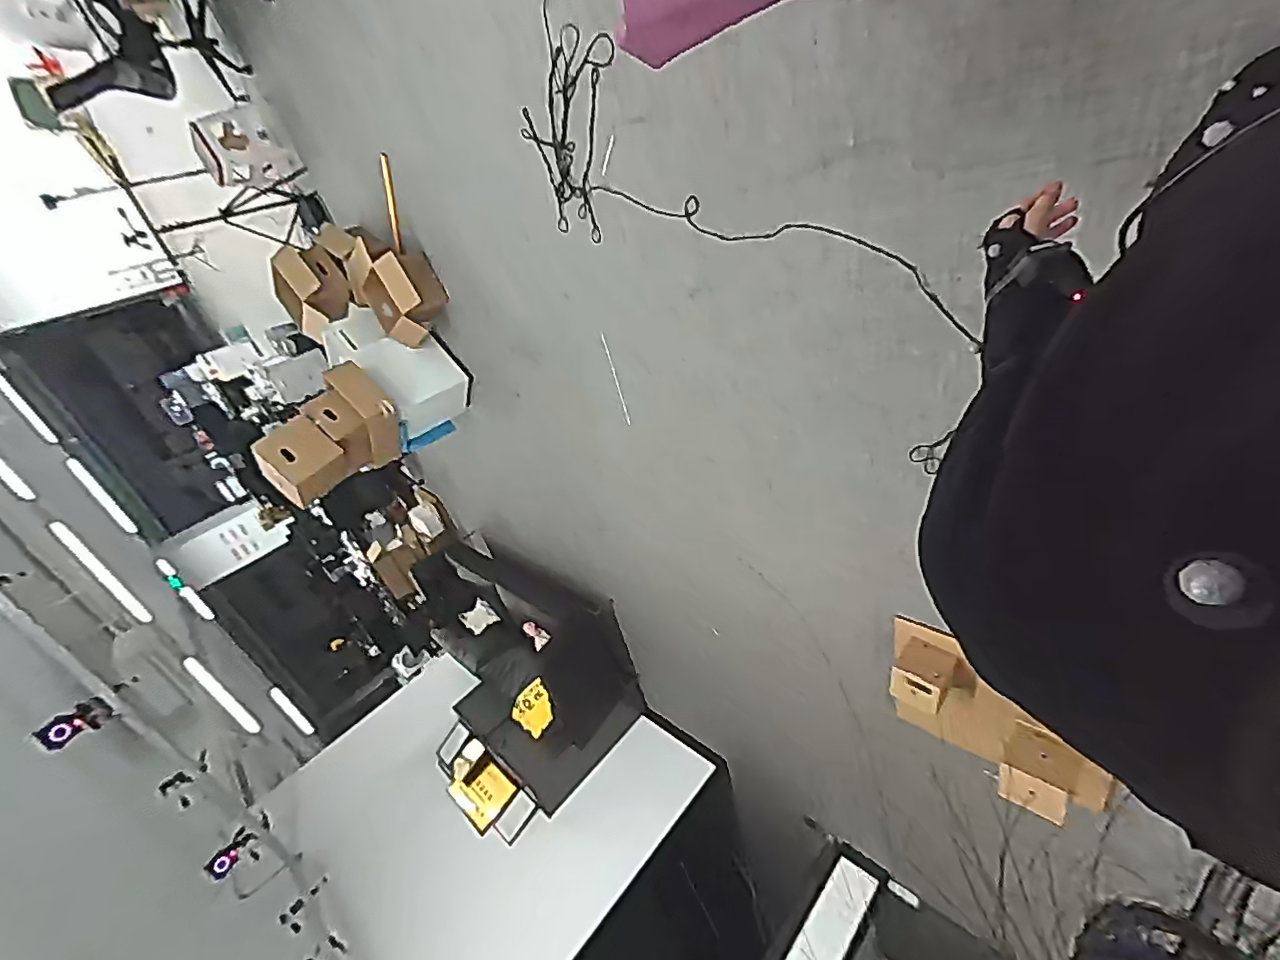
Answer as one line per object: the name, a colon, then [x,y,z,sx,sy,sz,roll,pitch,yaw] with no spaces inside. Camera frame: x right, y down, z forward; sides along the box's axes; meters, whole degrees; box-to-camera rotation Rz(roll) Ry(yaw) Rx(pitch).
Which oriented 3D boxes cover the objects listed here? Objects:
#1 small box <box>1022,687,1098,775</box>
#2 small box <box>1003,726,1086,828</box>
small box: [1.328,0.796,1.716,0.168,0.176,0.179,13,132,45]
small box: [1.220,0.886,1.630,0.168,0.176,0.179,14,132,45]
